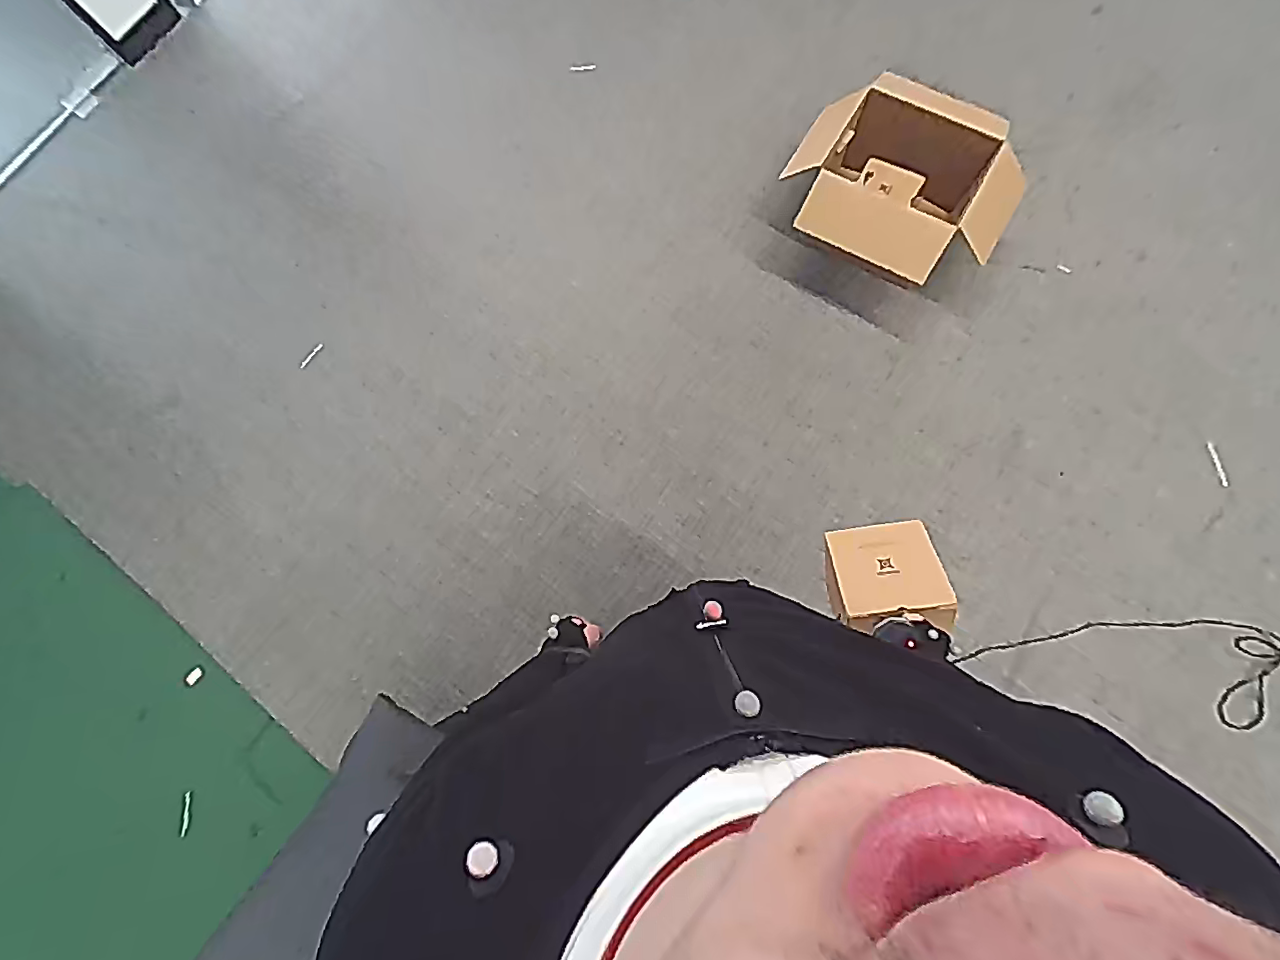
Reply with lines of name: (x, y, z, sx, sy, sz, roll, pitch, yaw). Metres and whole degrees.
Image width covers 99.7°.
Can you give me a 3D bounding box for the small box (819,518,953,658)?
small box: (0.415, 0.194, 0.940, 0.168, 0.176, 0.179, -9, 42, 9)
